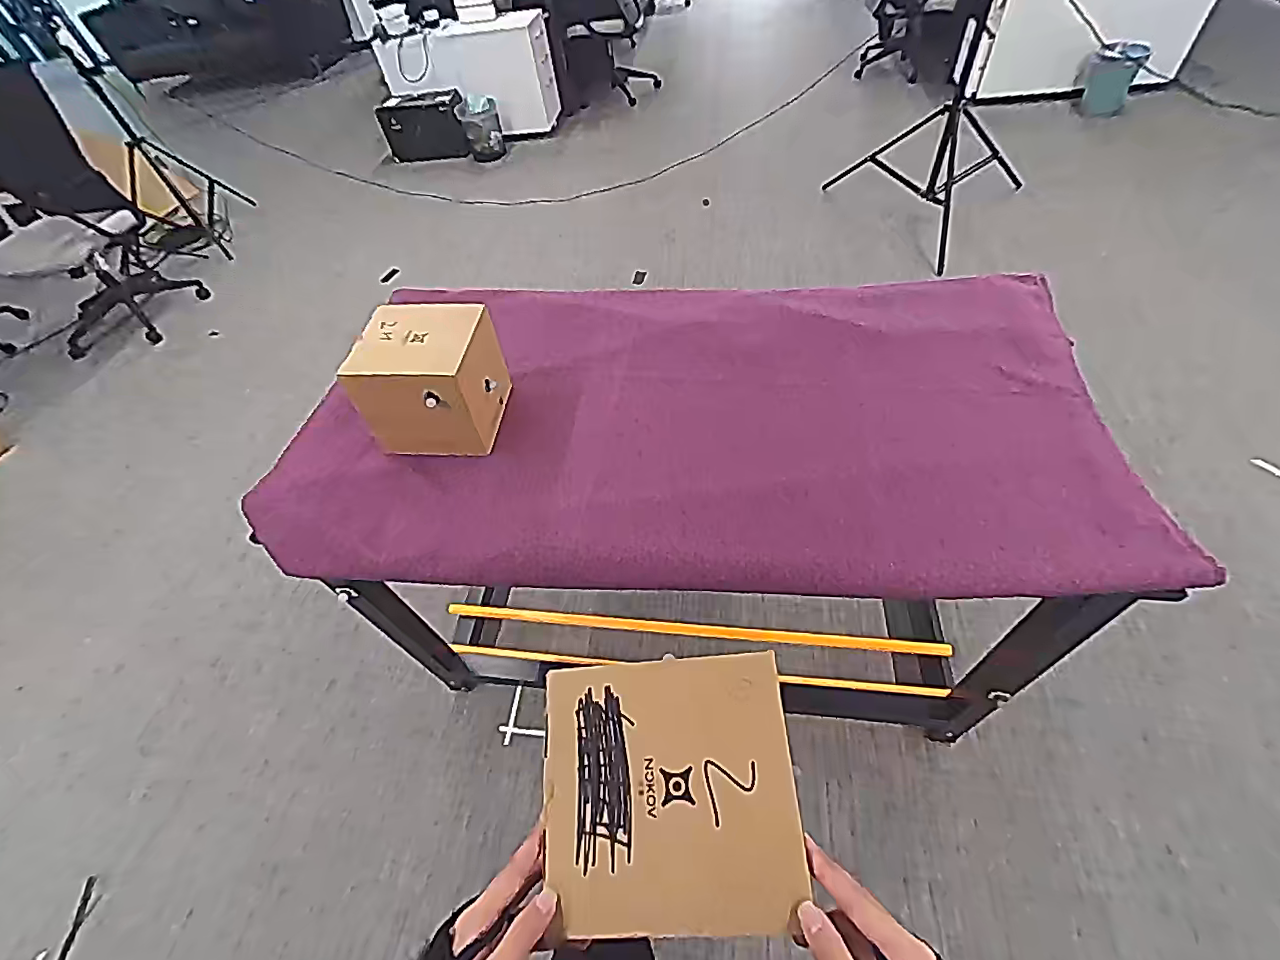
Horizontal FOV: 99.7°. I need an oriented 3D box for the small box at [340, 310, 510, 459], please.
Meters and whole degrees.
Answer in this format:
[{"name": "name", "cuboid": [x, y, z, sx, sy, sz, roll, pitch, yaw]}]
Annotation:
[{"name": "small box", "cuboid": [-0.319, -0.146, 0.851, 0.179, 0.176, 0.168, 1, 51, 6]}]
